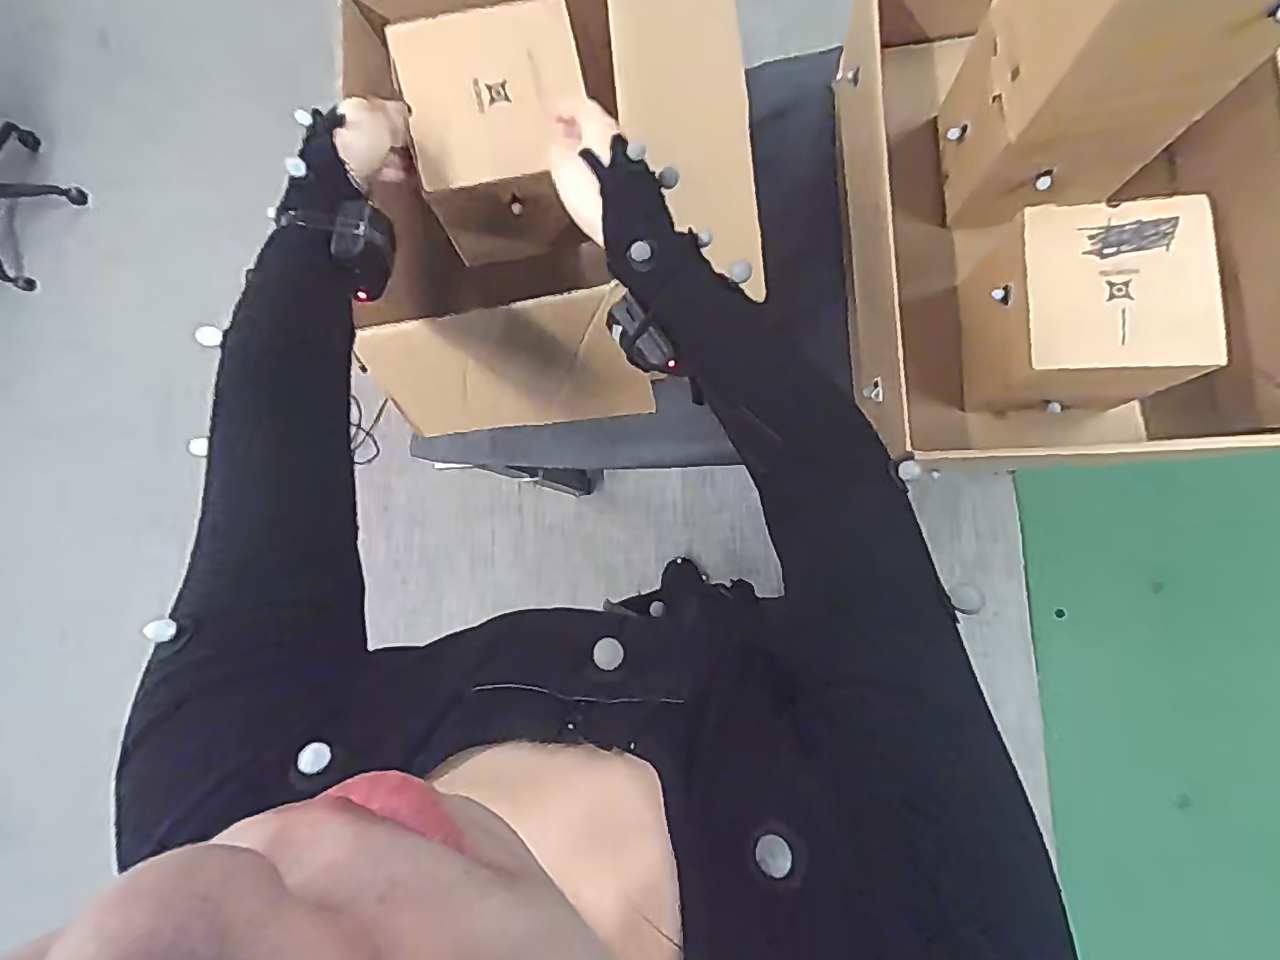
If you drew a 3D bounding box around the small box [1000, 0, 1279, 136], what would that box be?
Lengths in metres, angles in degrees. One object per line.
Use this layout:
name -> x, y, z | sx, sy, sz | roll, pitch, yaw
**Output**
small box -> 0.448, -0.441, 0.478 | 0.179, 0.176, 0.168 | -3, 85, 9
